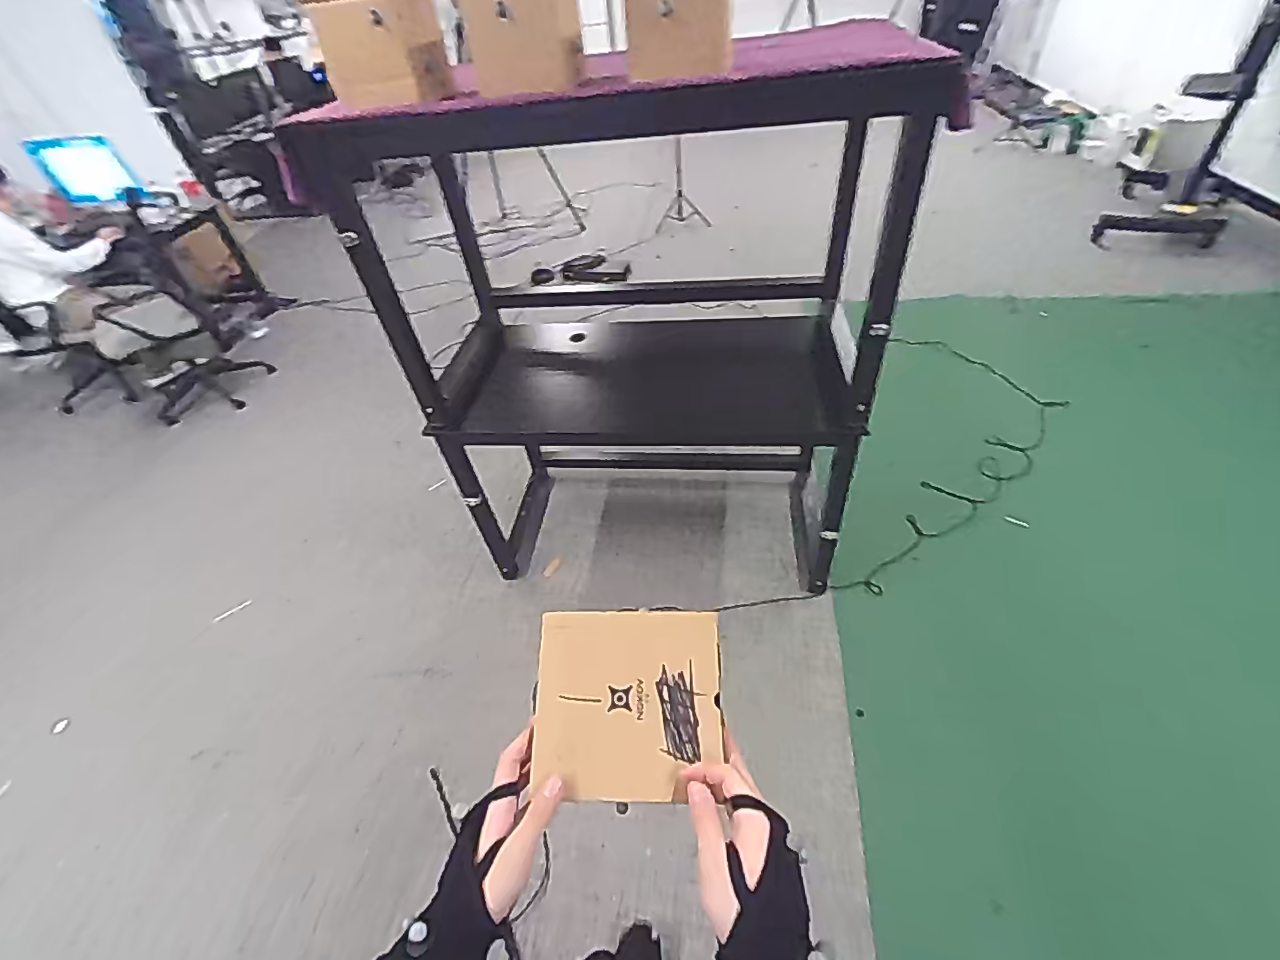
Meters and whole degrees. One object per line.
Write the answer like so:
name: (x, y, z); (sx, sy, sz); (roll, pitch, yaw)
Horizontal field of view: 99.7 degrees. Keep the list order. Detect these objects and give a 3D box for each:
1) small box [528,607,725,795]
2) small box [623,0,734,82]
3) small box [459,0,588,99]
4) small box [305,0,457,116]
small box: (-0.009, 0.235, 0.579); (0.179, 0.176, 0.168); (-1, 64, 3)
small box: (0.070, -0.823, 0.952); (0.179, 0.176, 0.168); (2, 45, 13)
small box: (-0.209, -0.827, 1.003); (0.179, 0.176, 0.168); (2, 45, 11)
small box: (-0.488, -0.823, 1.048); (0.179, 0.176, 0.168); (2, 44, 10)
